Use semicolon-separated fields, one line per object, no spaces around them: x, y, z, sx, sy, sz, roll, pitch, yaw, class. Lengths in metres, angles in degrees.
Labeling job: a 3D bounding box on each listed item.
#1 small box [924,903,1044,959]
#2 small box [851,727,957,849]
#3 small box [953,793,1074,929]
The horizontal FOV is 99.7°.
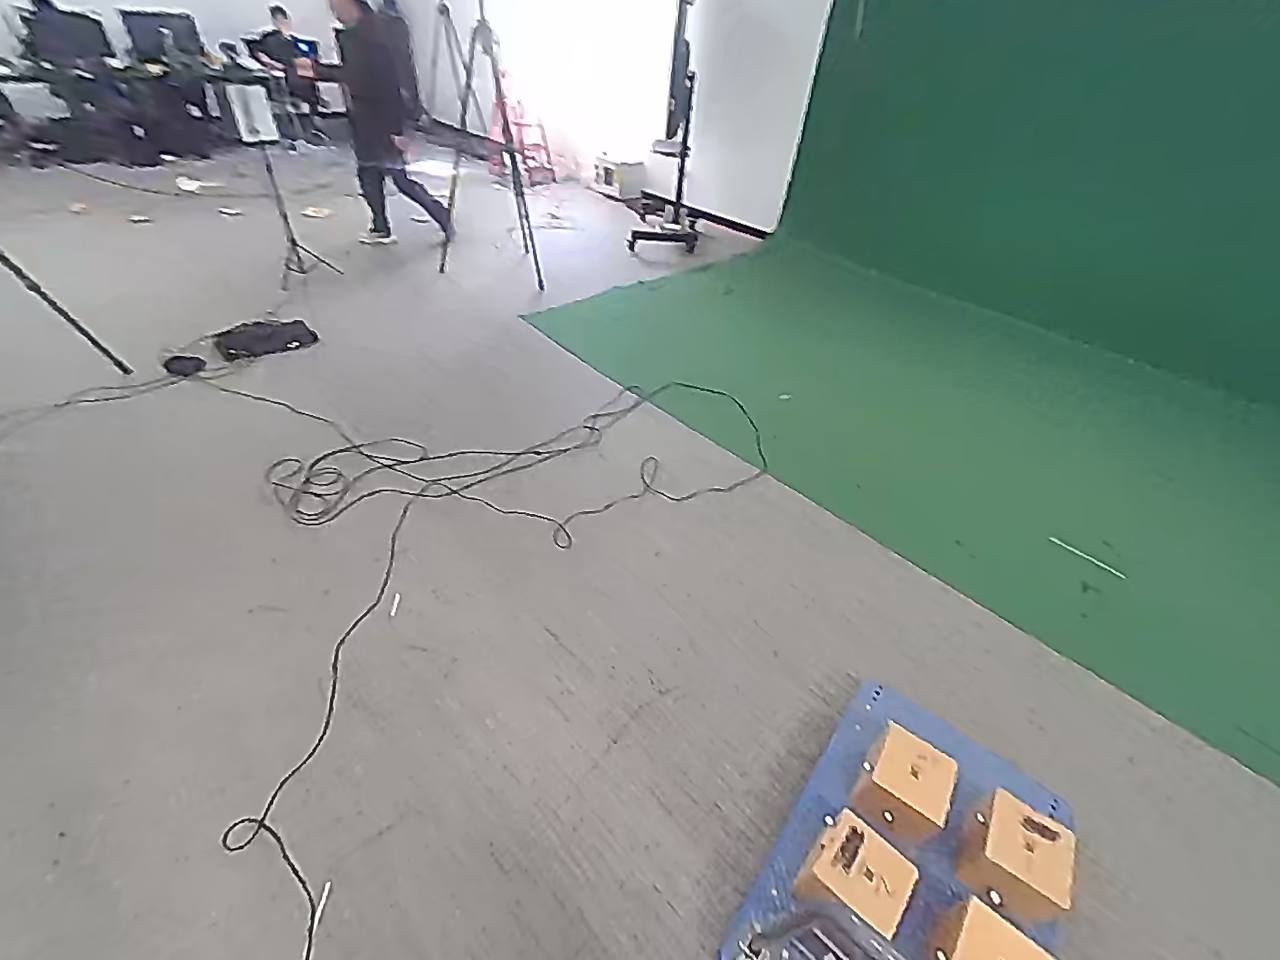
0.681;1.004;1.076;0.168;0.176;0.179;32;48;26;small box
0.646;0.765;1.340;0.168;0.176;0.179;29;46;23;small box
0.852;0.874;1.241;0.168;0.176;0.179;28;47;24;small box
